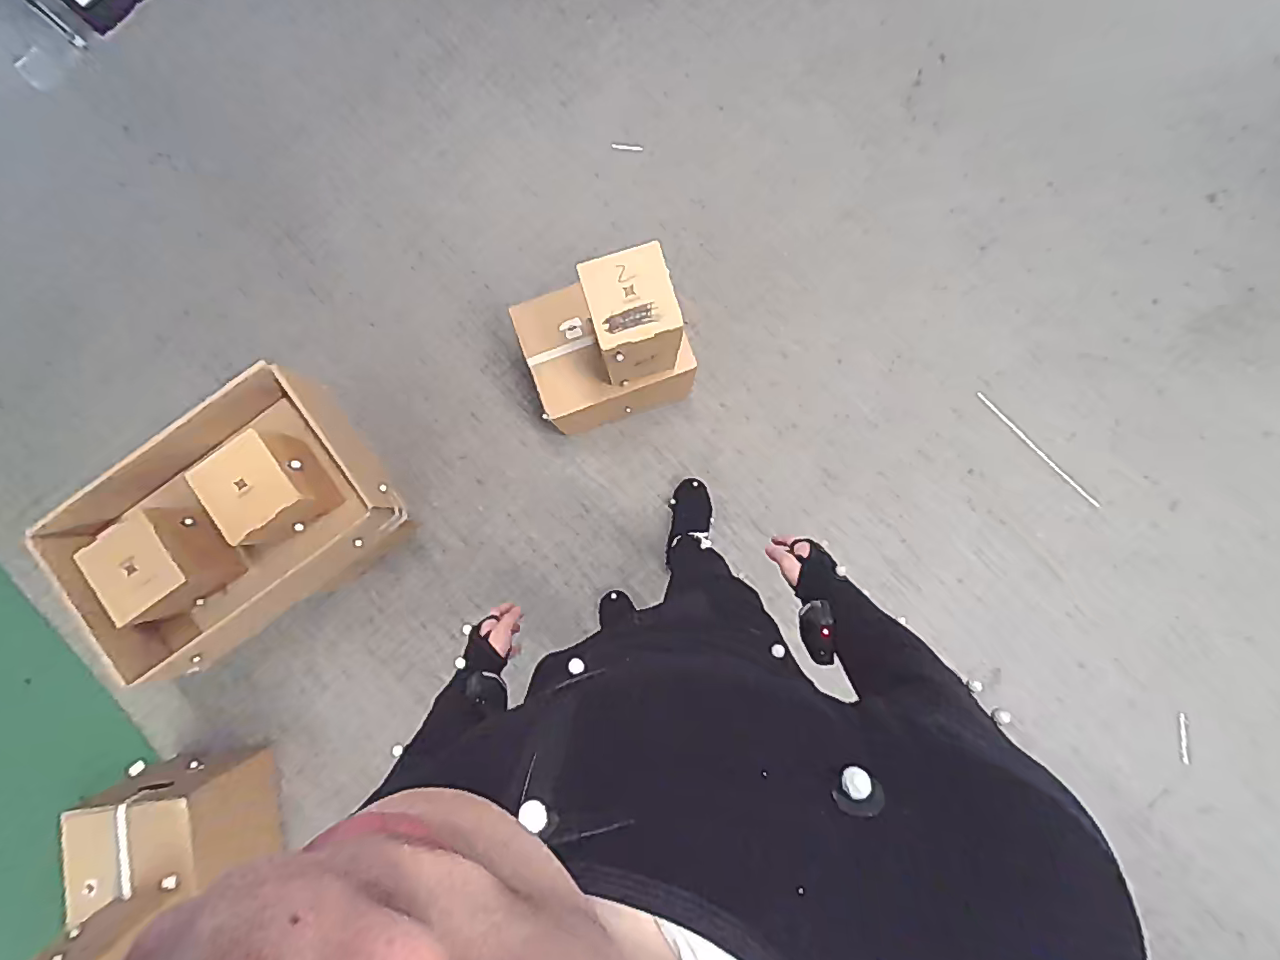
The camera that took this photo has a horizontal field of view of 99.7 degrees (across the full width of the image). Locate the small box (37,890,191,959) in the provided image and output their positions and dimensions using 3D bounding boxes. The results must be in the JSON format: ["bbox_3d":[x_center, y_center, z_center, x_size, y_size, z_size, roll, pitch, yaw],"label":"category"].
[{"bbox_3d":[-1.141,1.046,1.183,0.179,0.176,0.168,-9,86,-1],"label":"small box"}]

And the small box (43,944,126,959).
[{"bbox_3d":[-1.131,1.033,1.020,0.179,0.176,0.168,-10,86,0],"label":"small box"}]

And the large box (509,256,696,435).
[{"bbox_3d":[-0.092,-0.351,1.509,0.408,0.320,0.320,-21,86,0],"label":"large box"}]

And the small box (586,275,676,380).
[{"bbox_3d":[-0.018,-0.344,1.262,0.168,0.176,0.179,-17,87,0],"label":"small box"}]

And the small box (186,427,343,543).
[{"bbox_3d":[-0.779,0.015,1.141,0.168,0.176,0.179,-36,88,-2],"label":"small box"}]
